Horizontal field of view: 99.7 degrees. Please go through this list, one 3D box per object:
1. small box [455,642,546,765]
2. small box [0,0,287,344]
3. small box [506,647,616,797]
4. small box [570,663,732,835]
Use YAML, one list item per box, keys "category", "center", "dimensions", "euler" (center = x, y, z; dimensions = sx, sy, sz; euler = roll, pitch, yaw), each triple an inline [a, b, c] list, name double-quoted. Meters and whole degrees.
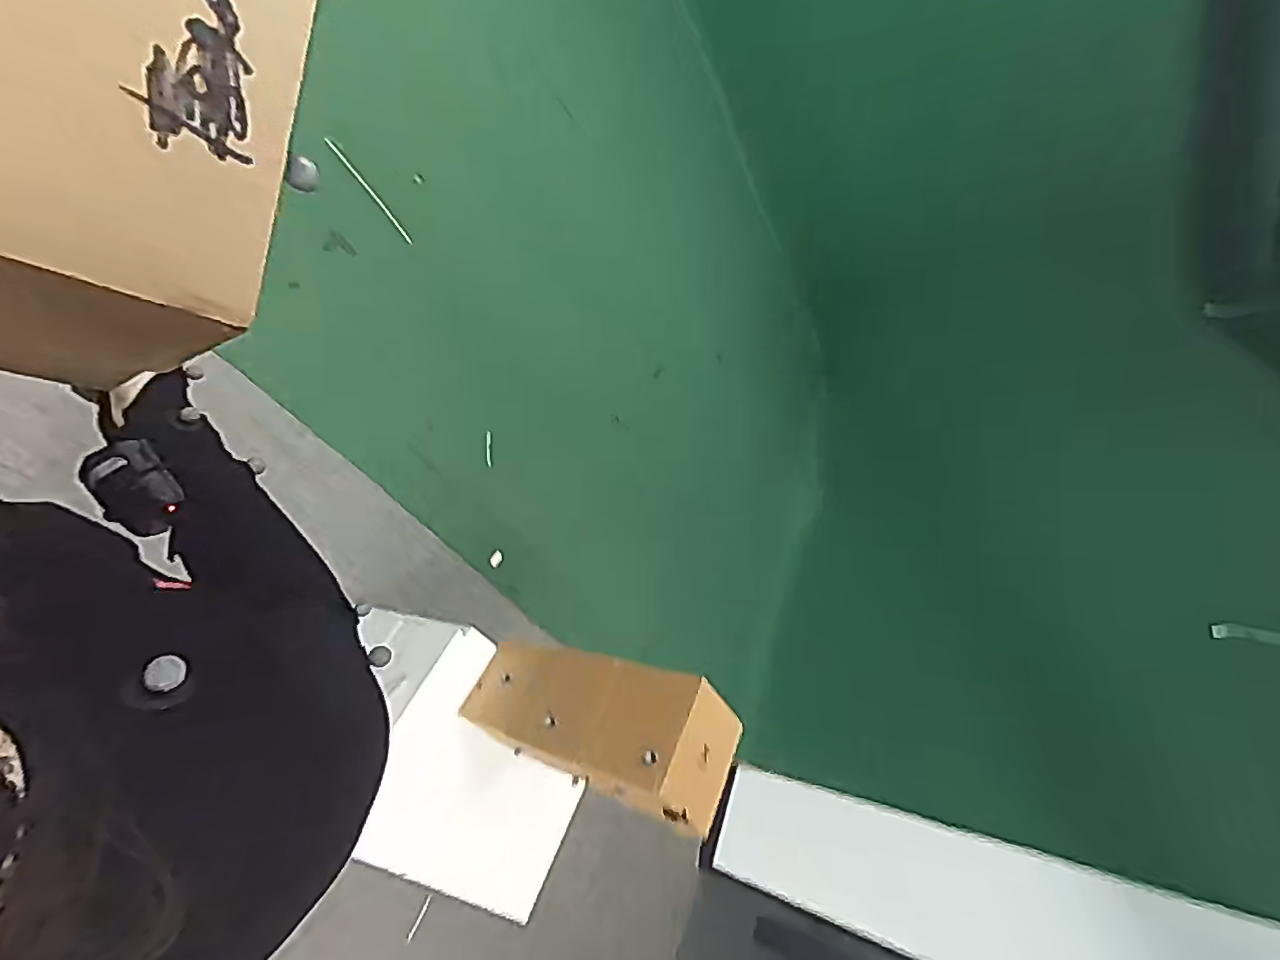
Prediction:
- category: "small box"
  center: [-0.228, 0.440, 1.074]
  dimensions: [0.179, 0.176, 0.168]
  euler: [55, 50, -33]
- category: "small box"
  center: [-0.227, -0.148, 0.155]
  dimensions: [0.179, 0.176, 0.168]
  euler: [12, 84, -48]
- category: "small box"
  center: [-0.110, 0.423, 0.963]
  dimensions: [0.168, 0.176, 0.179]
  euler: [55, 48, -34]
- category: "small box"
  center: [0.020, 0.418, 0.865]
  dimensions: [0.168, 0.176, 0.179]
  euler: [57, 48, -33]
